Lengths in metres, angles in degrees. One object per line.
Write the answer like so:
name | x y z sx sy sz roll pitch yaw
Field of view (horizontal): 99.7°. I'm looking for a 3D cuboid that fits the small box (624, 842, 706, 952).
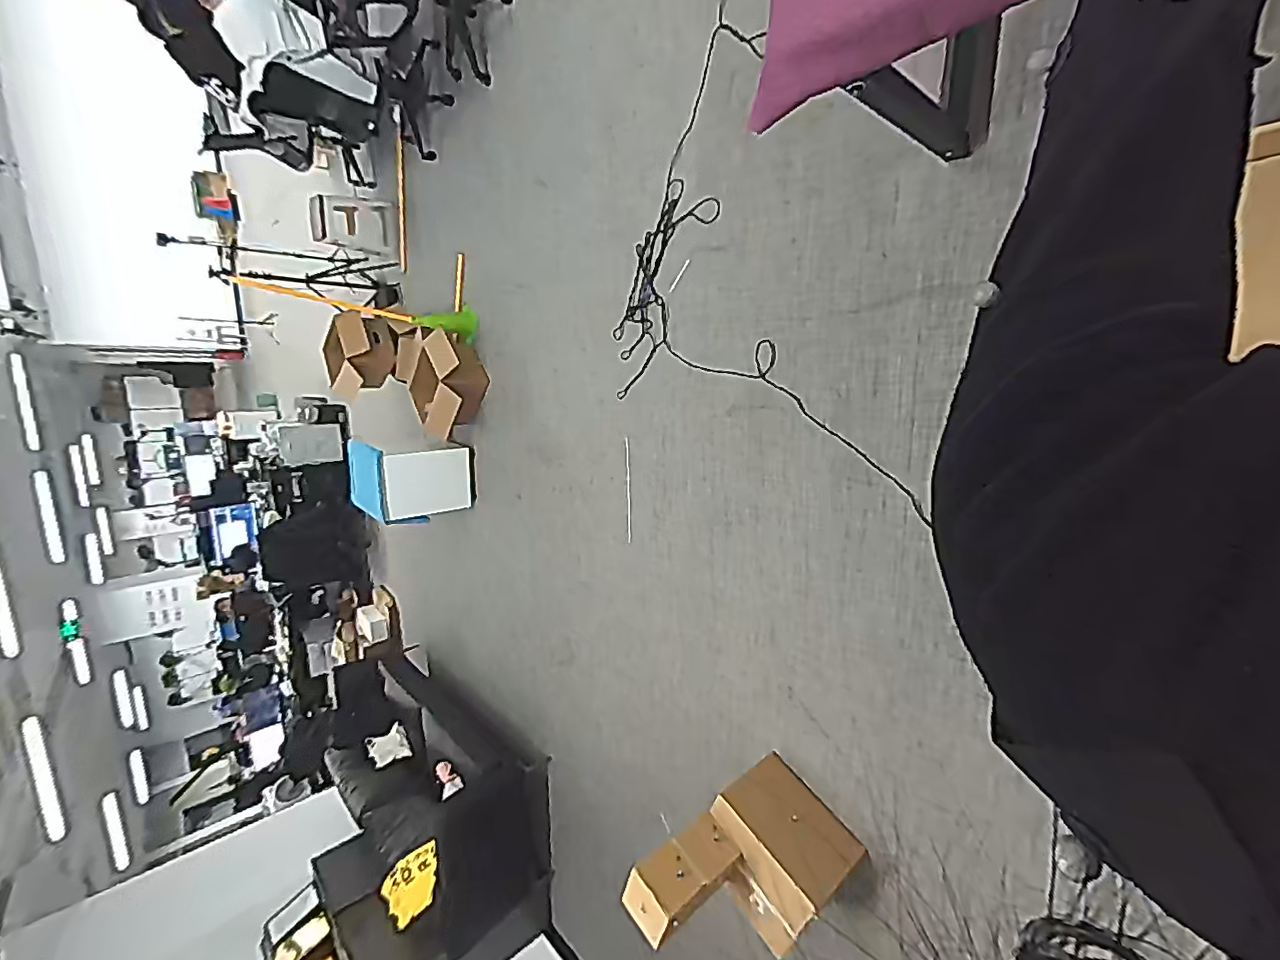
small box | 0.077 1.263 1.646 0.168 0.176 0.179 35 122 39
